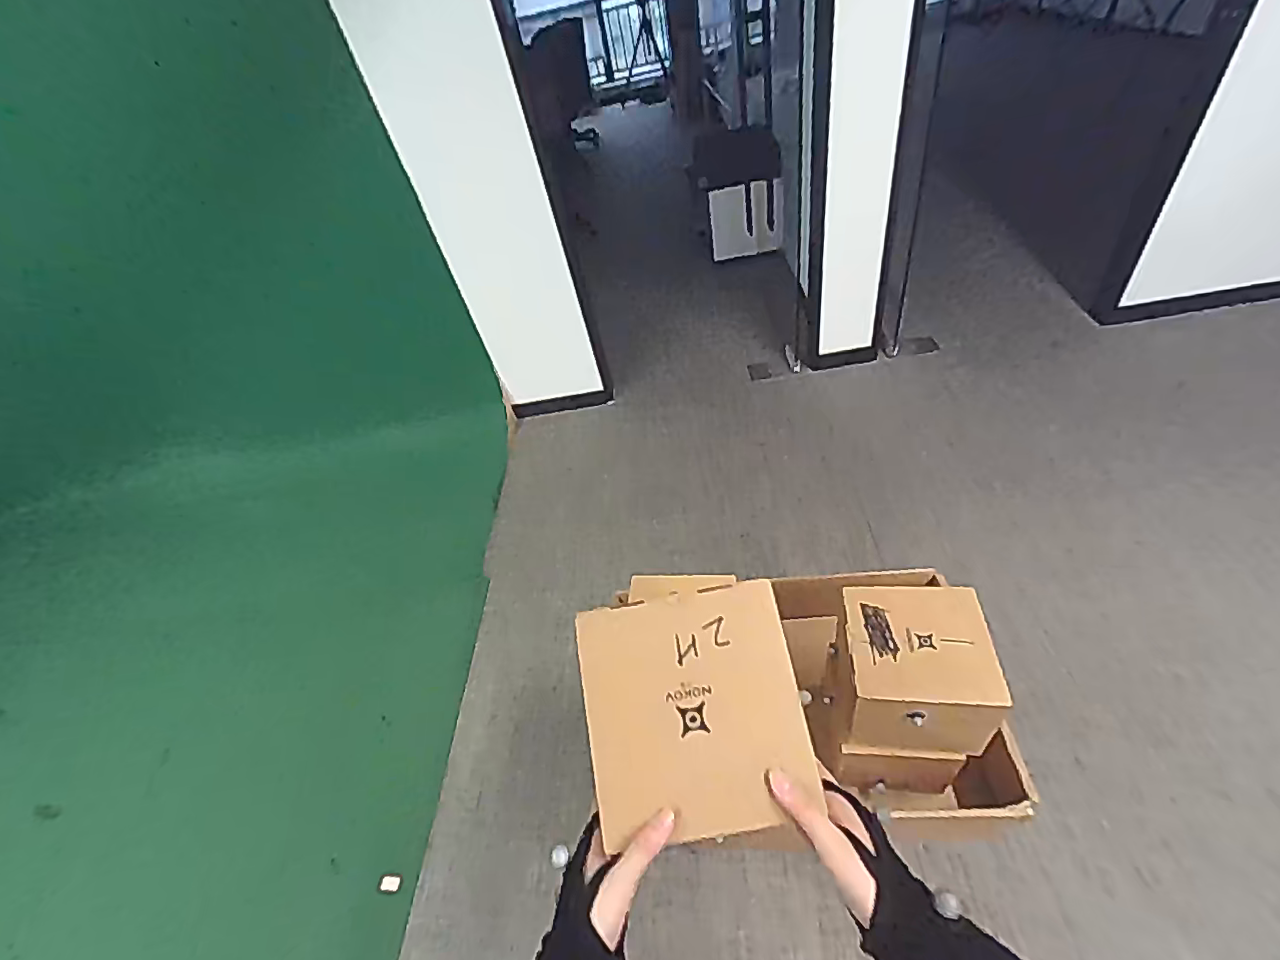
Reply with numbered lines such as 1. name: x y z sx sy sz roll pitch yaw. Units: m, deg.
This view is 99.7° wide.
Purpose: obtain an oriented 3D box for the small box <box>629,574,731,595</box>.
1. small box: 0.070 0.266 0.842 0.168 0.176 0.179 -2 46 13

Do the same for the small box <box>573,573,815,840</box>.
1. small box: 0.044 0.197 0.496 0.168 0.176 0.179 -11 69 2

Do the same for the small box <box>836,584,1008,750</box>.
1. small box: 0.375 0.263 0.761 0.179 0.176 0.168 -2 46 13
